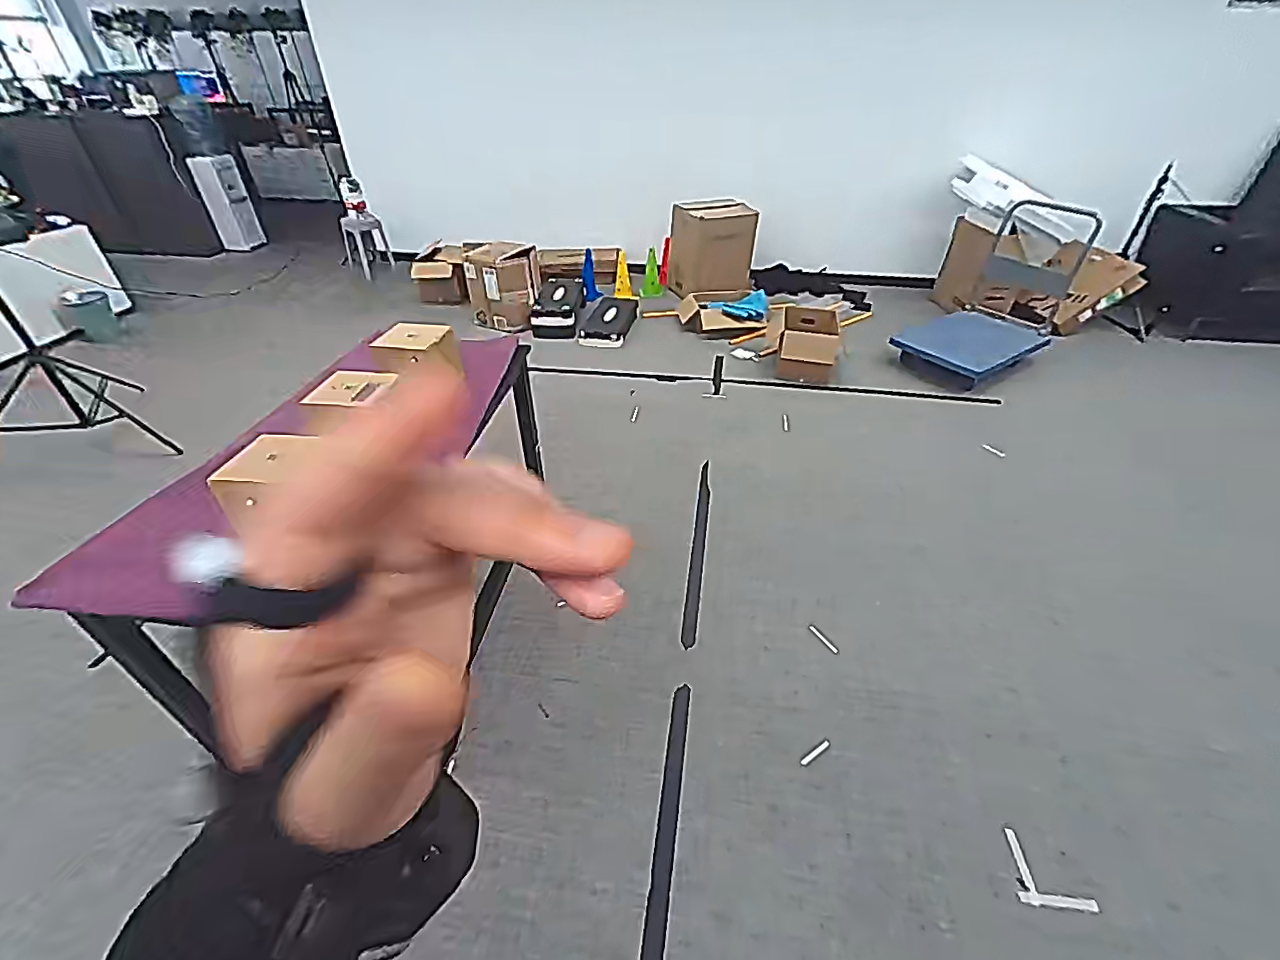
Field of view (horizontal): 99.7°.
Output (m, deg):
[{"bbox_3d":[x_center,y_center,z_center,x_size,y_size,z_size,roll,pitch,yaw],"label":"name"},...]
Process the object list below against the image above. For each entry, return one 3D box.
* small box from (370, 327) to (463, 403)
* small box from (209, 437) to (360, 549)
[{"bbox_3d":[-0.650,-0.339,1.596,0.179,0.176,0.168,6,38,9],"label":"small box"},{"bbox_3d":[-0.722,0.027,1.122,0.179,0.176,0.168,3,37,4],"label":"small box"}]
